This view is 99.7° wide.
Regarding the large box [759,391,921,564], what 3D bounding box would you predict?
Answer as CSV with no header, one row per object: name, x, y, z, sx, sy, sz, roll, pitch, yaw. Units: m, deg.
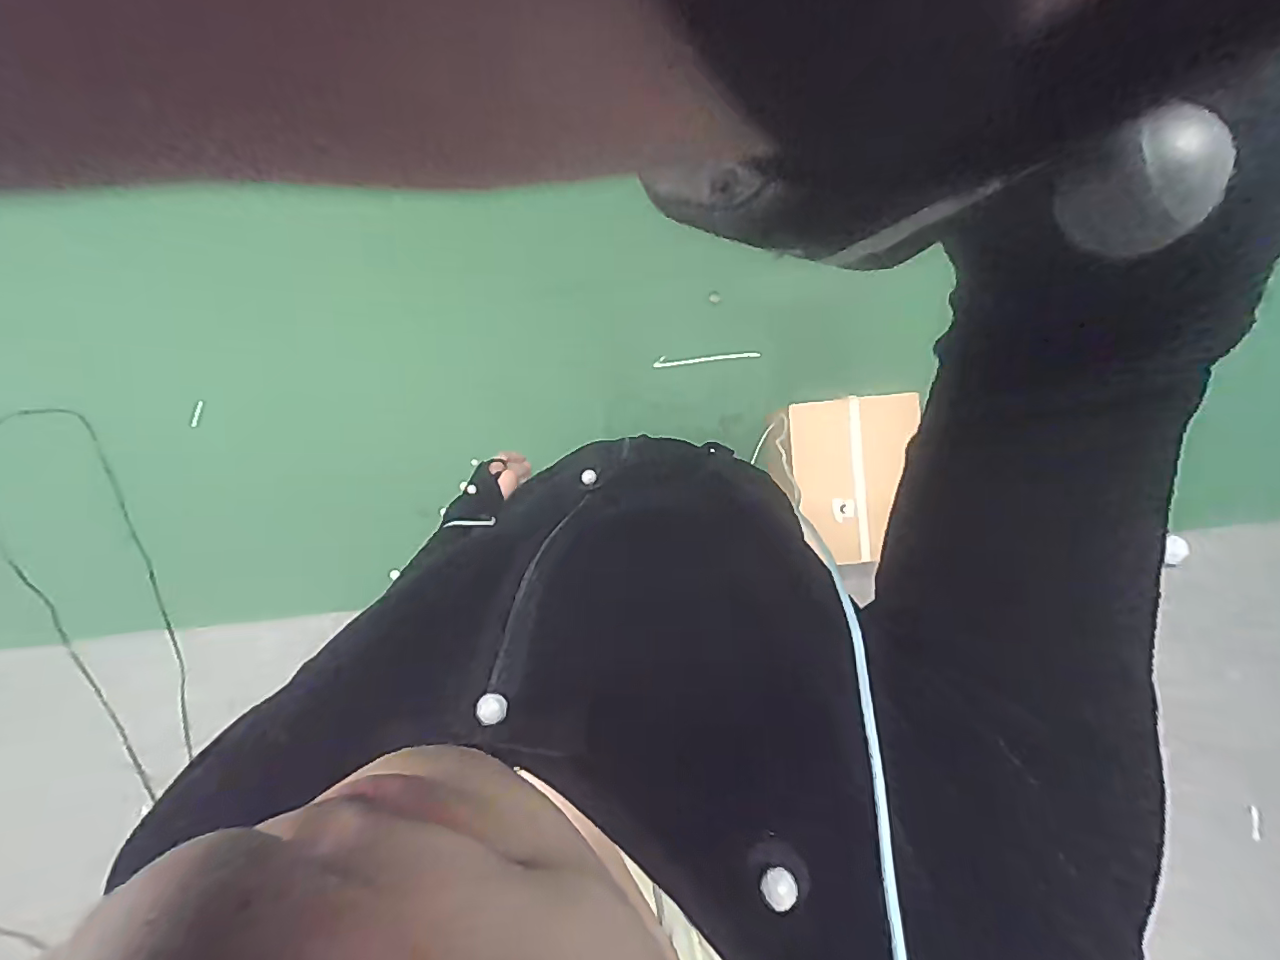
large box,0.523,-0.013,1.471,0.320,0.320,0.408,-5,93,3
